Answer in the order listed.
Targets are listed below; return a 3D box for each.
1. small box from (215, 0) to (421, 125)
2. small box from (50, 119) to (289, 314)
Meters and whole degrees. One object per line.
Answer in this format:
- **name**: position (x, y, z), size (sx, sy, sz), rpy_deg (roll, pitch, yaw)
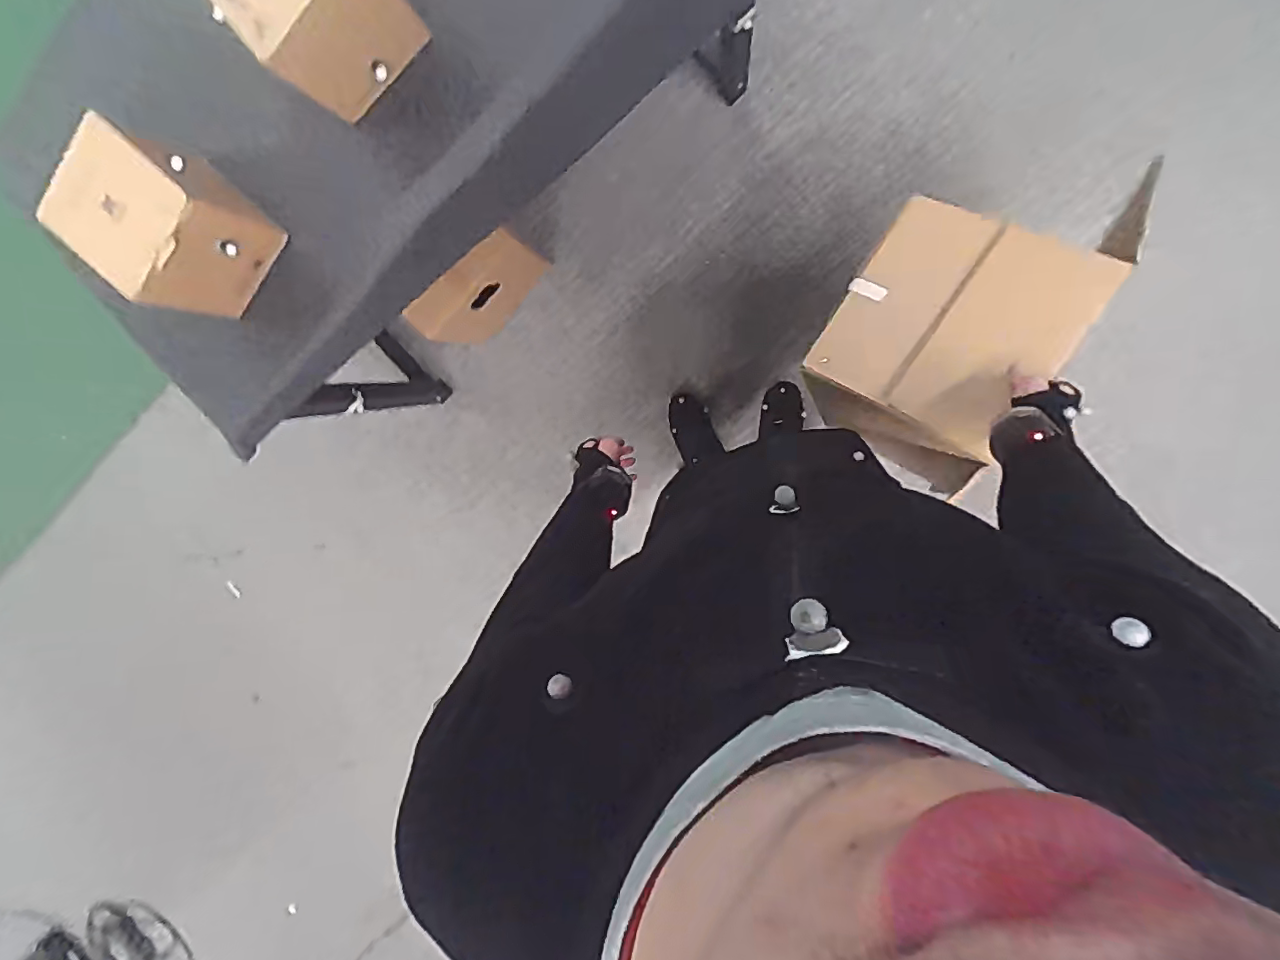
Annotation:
- **small box**: position (-0.417, -0.621, 0.703), size (0.179, 0.176, 0.168), rpy_deg (-38, 93, 12)
- **small box**: position (-0.668, -0.363, 0.788), size (0.179, 0.176, 0.168), rpy_deg (41, 102, 1)
